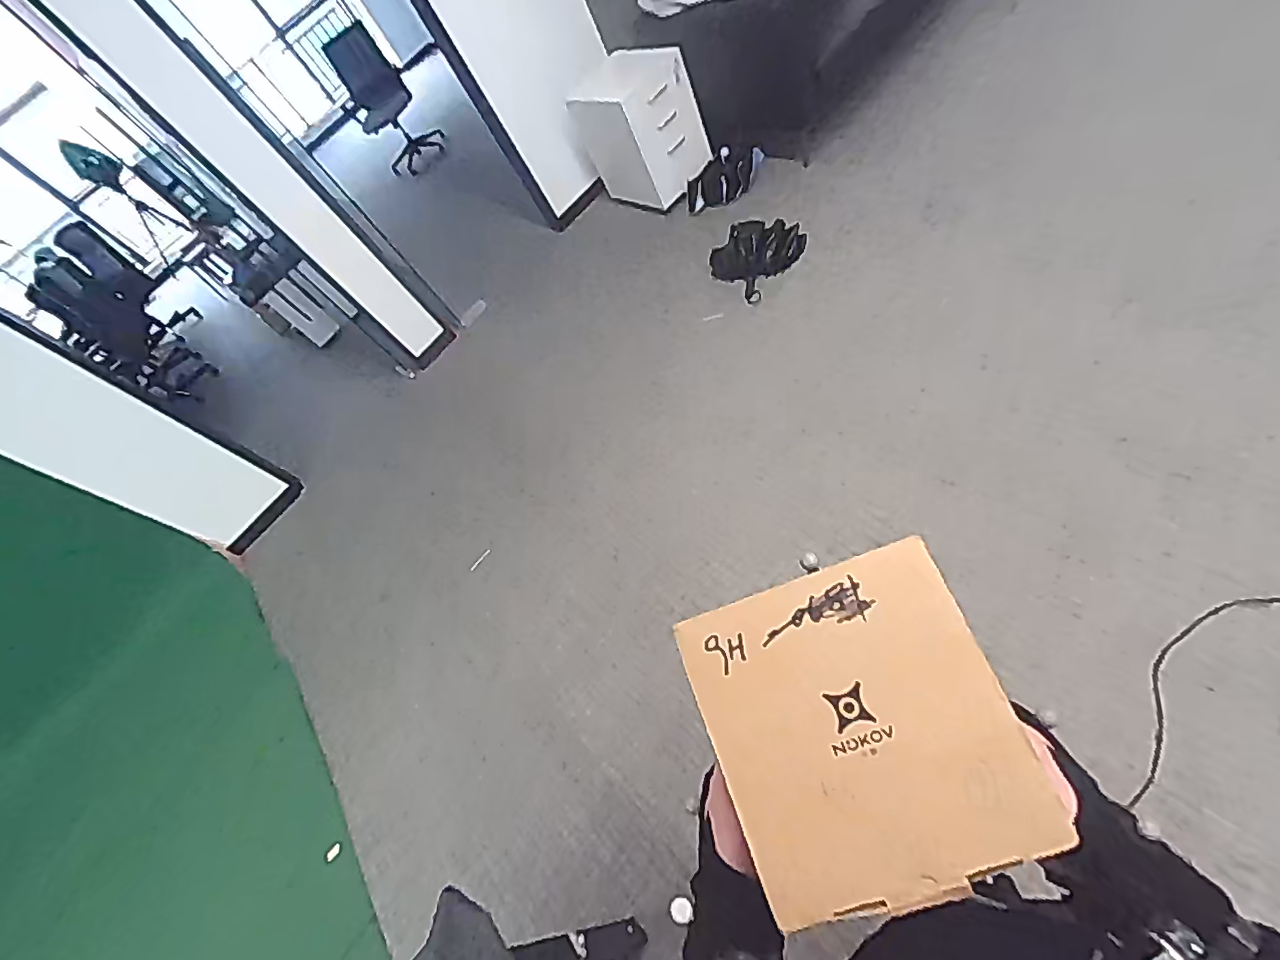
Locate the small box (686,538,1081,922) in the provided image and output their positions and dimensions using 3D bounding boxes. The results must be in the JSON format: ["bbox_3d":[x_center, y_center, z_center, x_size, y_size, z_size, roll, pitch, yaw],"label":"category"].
[{"bbox_3d":[0.147,0.158,0.391,0.168,0.176,0.179,-22,73,6],"label":"small box"}]
